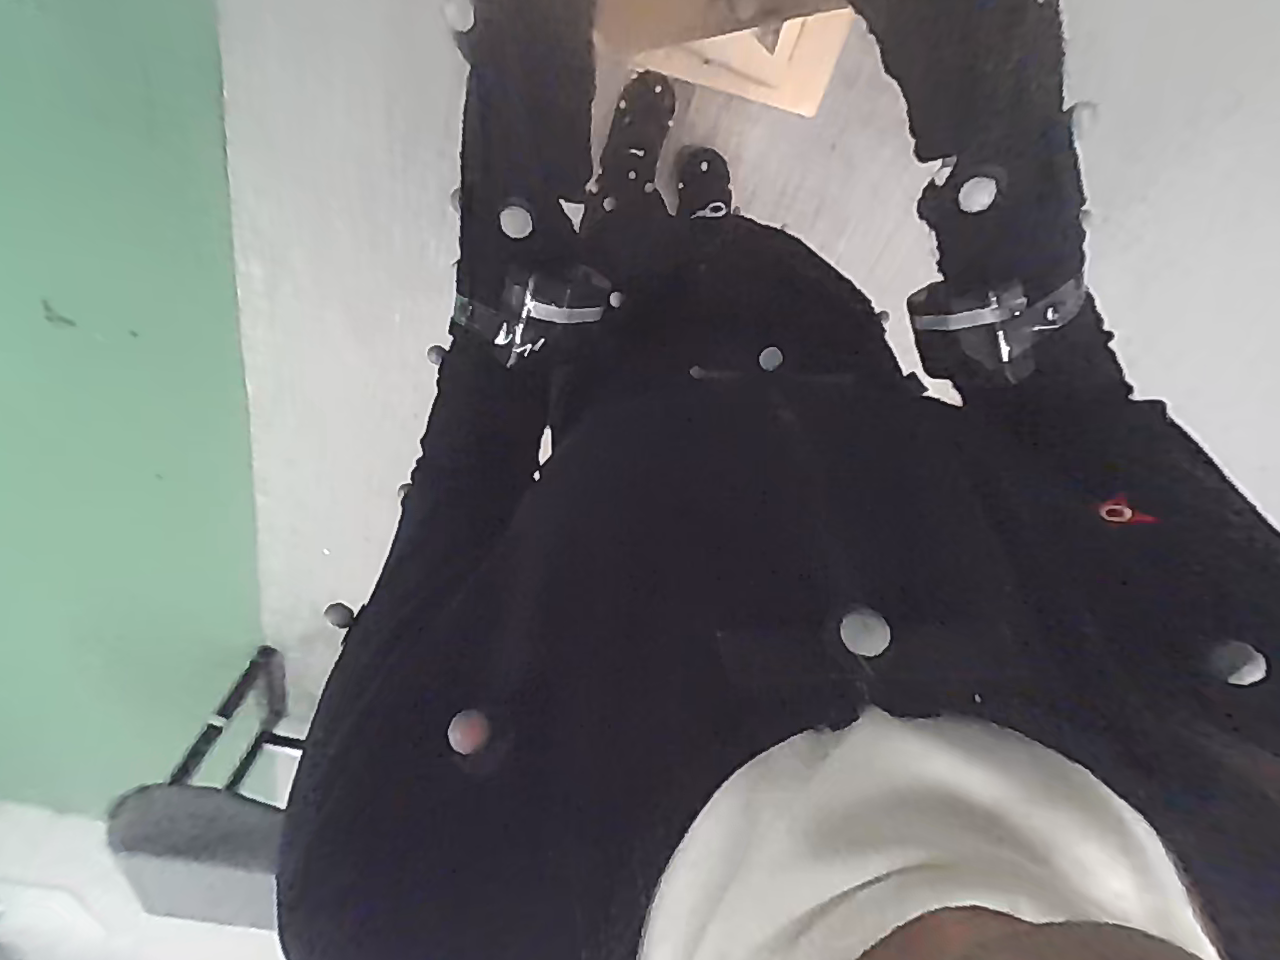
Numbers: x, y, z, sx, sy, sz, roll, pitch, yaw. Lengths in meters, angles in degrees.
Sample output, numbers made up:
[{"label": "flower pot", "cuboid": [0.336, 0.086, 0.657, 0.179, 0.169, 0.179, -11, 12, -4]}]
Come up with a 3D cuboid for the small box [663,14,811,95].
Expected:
[{"label": "small box", "cuboid": [0.126, -0.629, 0.698, 0.179, 0.176, 0.168, 18, 125, -9]}]

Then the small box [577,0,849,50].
[{"label": "small box", "cuboid": [0.036, -0.333, 0.247, 0.168, 0.176, 0.179, -6, 113, 11]}]
